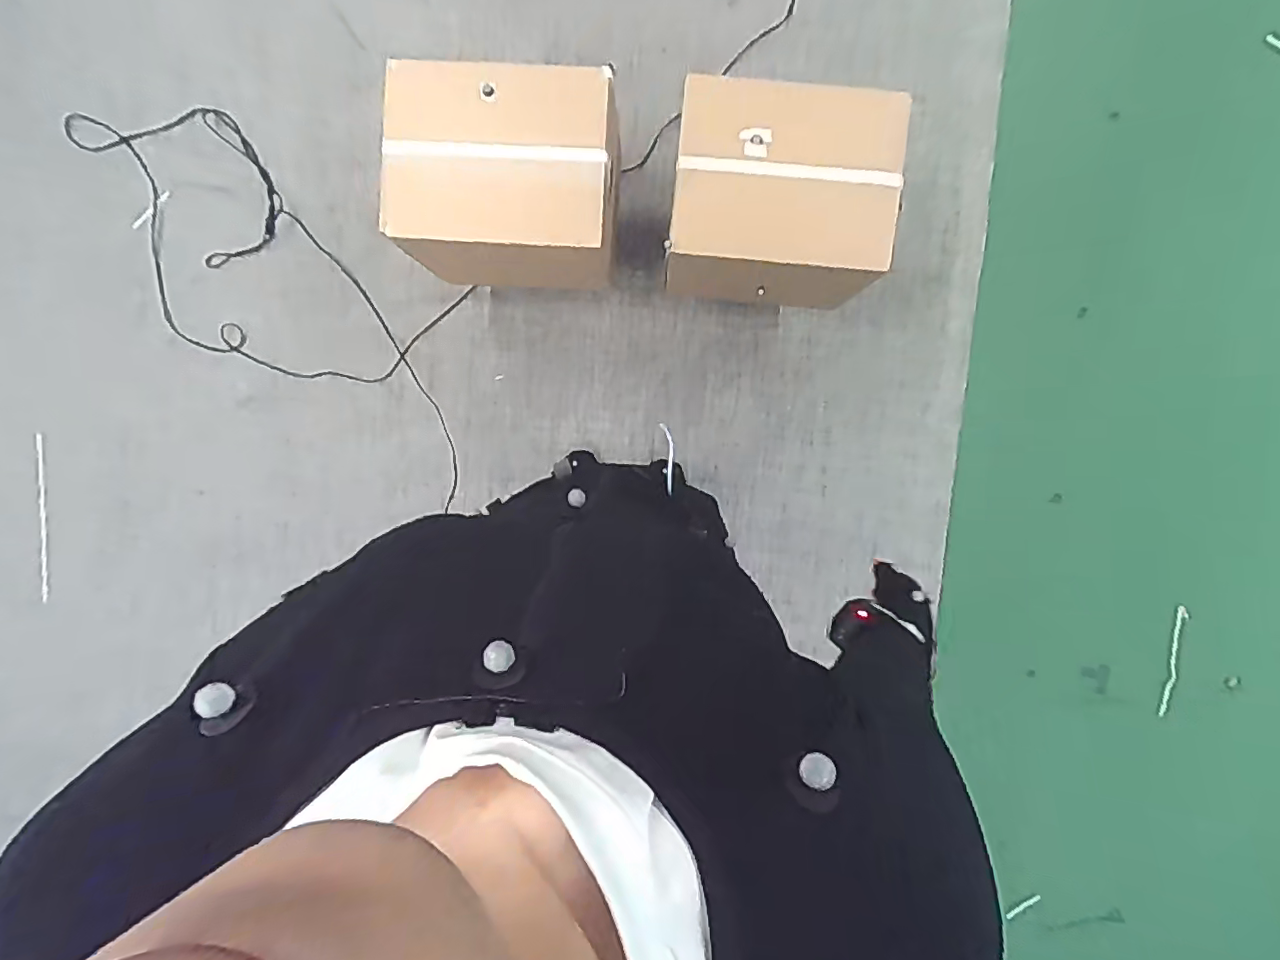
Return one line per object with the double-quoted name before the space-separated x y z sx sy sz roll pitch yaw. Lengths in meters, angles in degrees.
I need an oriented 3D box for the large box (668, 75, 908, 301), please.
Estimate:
"large box" 0.275 -0.574 1.130 0.408 0.320 0.320 6 95 1
